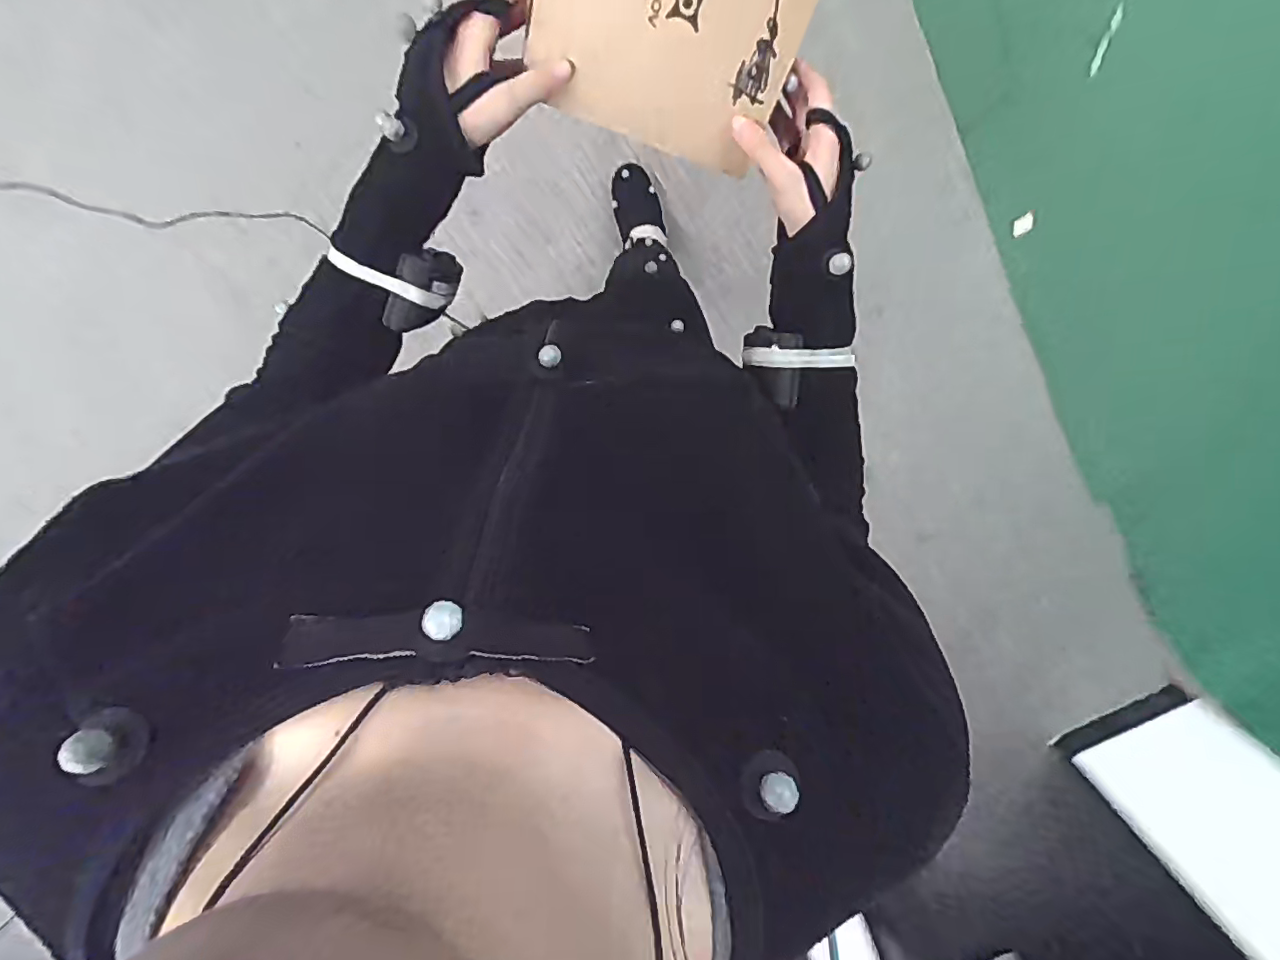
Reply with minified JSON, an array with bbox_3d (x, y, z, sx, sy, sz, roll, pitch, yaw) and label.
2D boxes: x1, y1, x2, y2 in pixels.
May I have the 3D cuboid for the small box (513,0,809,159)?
[{"bbox_3d":[0.022,-0.369,0.393,0.179,0.176,0.168,14,132,-12],"label":"small box"}]
